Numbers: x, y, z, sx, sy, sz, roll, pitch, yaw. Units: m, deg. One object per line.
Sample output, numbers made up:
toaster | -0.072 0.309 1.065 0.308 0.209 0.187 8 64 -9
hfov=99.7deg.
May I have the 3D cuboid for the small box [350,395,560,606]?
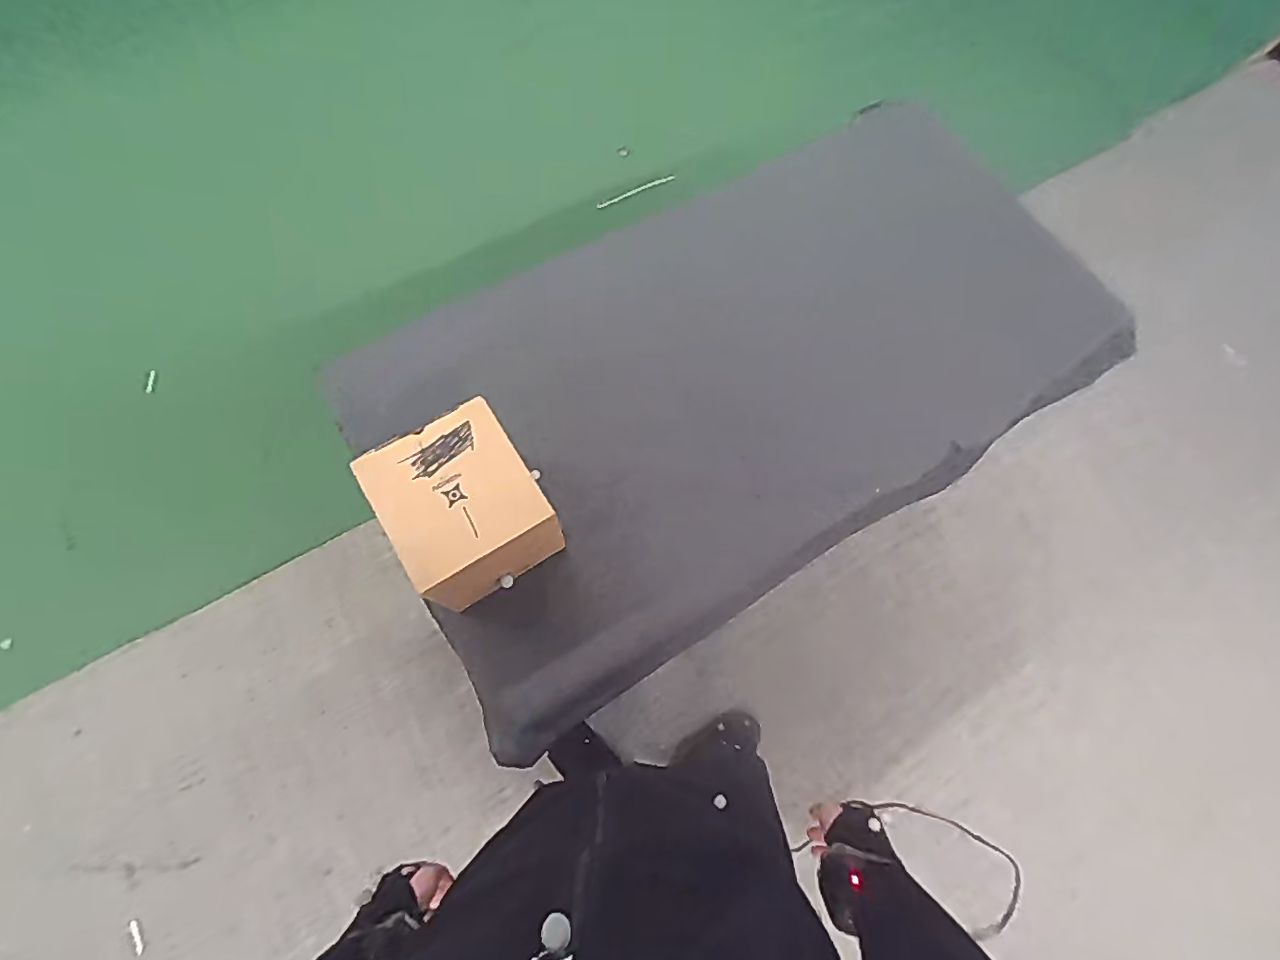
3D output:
small box | -0.212 0.034 0.662 0.168 0.176 0.179 -30 75 -14
